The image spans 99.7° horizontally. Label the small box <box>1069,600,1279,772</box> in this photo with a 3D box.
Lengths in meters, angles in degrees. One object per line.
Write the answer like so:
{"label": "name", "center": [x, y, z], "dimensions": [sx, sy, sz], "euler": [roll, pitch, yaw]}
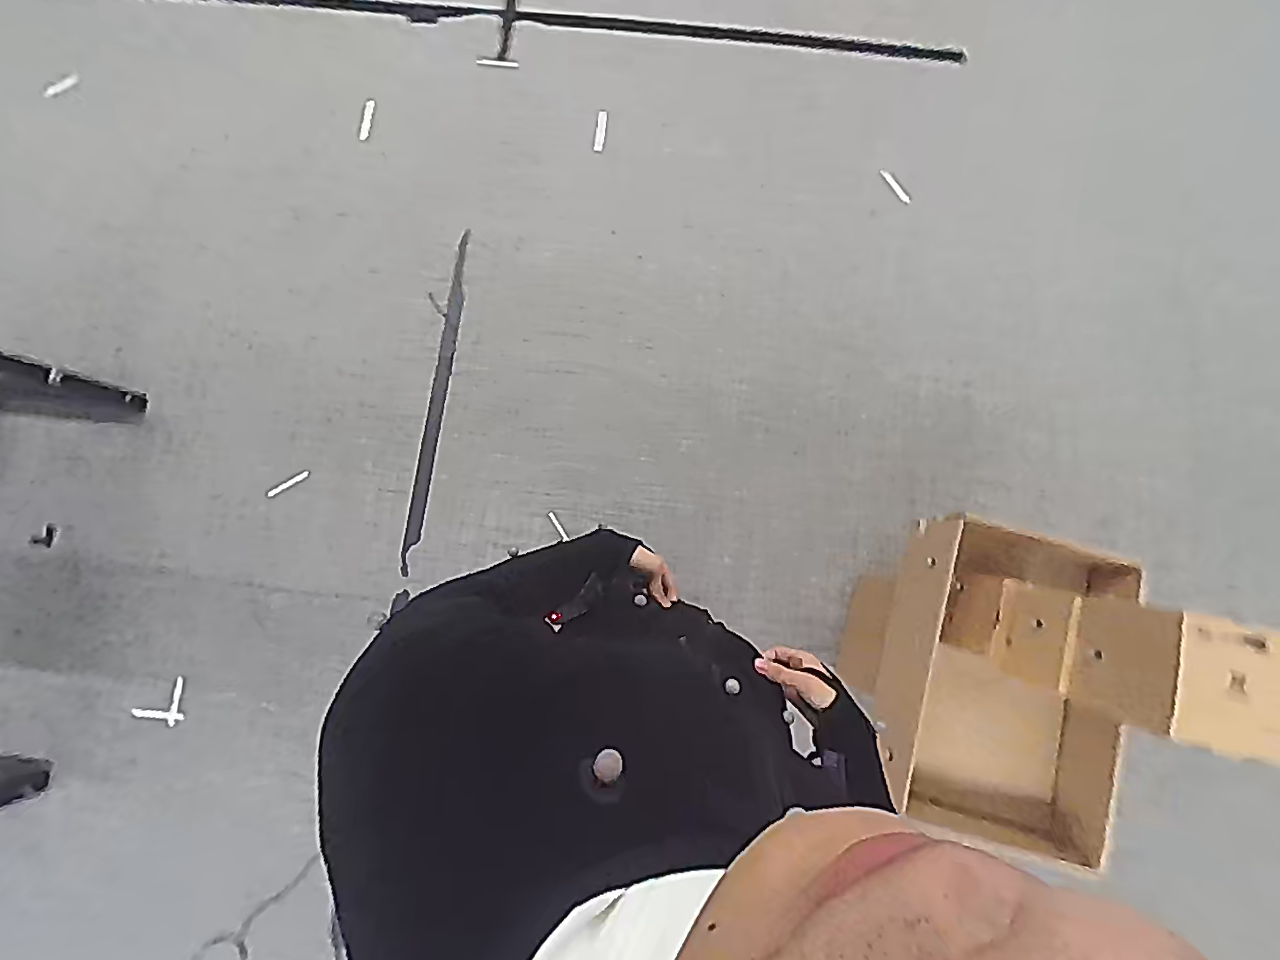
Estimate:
{"label": "small box", "center": [0.788, 0.291, 0.802], "dimensions": [0.168, 0.176, 0.179], "euler": [14, 85, 0]}

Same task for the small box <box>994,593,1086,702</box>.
{"label": "small box", "center": [0.778, 0.306, 0.965], "dimensions": [0.179, 0.176, 0.168], "euler": [15, 85, 1]}

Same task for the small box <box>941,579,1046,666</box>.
{"label": "small box", "center": [0.770, 0.310, 1.128], "dimensions": [0.179, 0.176, 0.168], "euler": [19, 84, 1]}
